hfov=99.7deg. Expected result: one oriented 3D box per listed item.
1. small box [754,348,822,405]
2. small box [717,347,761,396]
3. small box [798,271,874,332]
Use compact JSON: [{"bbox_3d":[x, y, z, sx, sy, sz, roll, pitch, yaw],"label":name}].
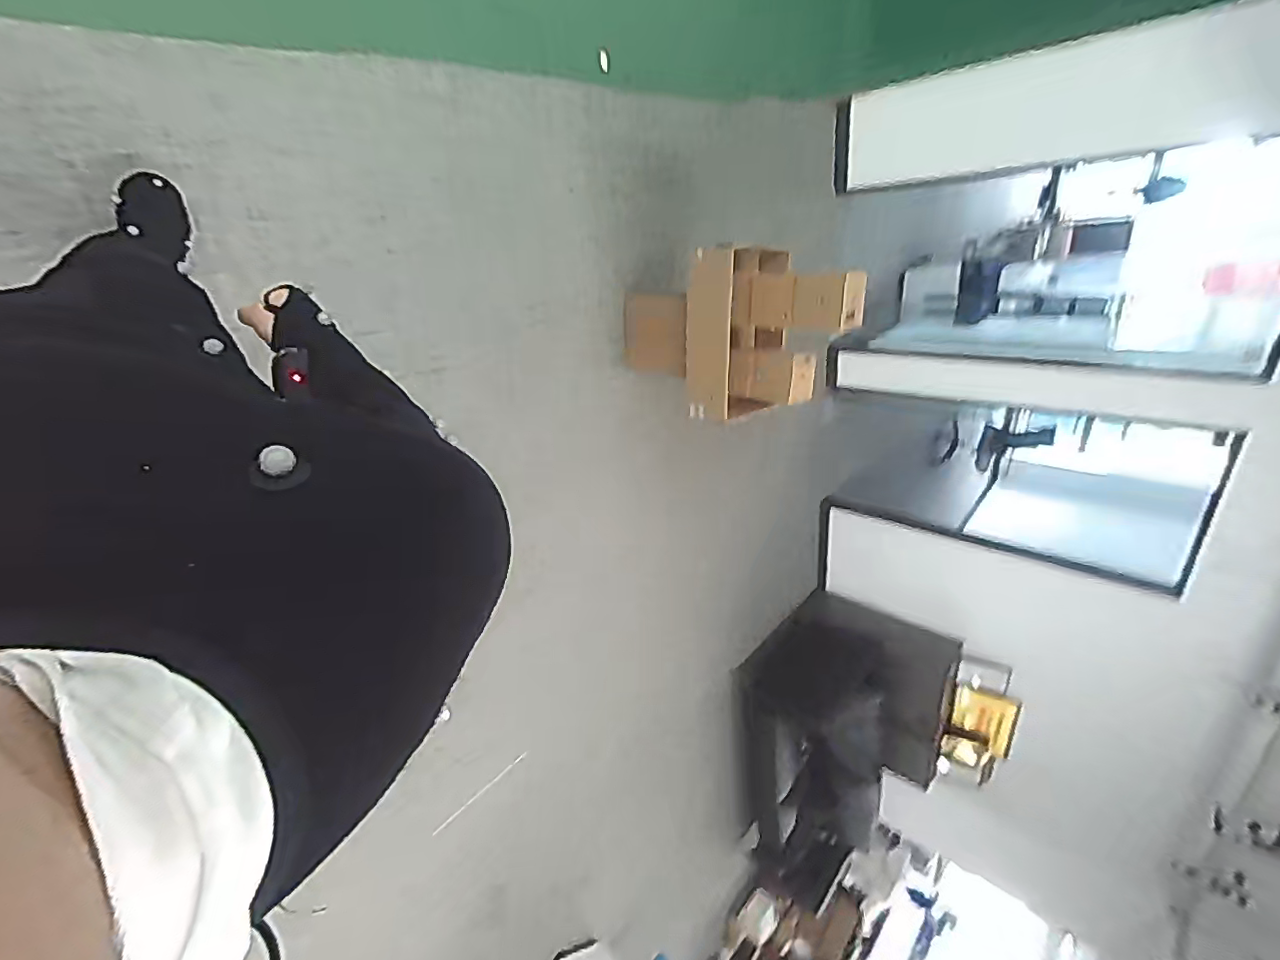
[{"bbox_3d":[0.531,-0.380,1.958,0.168,0.176,0.179,-15,116,-43],"label":"small box"},{"bbox_3d":[0.415,-0.419,2.067,0.179,0.176,0.168,-15,115,-43],"label":"small box"},{"bbox_3d":[0.628,-0.579,1.745,0.168,0.176,0.179,-21,119,-41],"label":"small box"}]
